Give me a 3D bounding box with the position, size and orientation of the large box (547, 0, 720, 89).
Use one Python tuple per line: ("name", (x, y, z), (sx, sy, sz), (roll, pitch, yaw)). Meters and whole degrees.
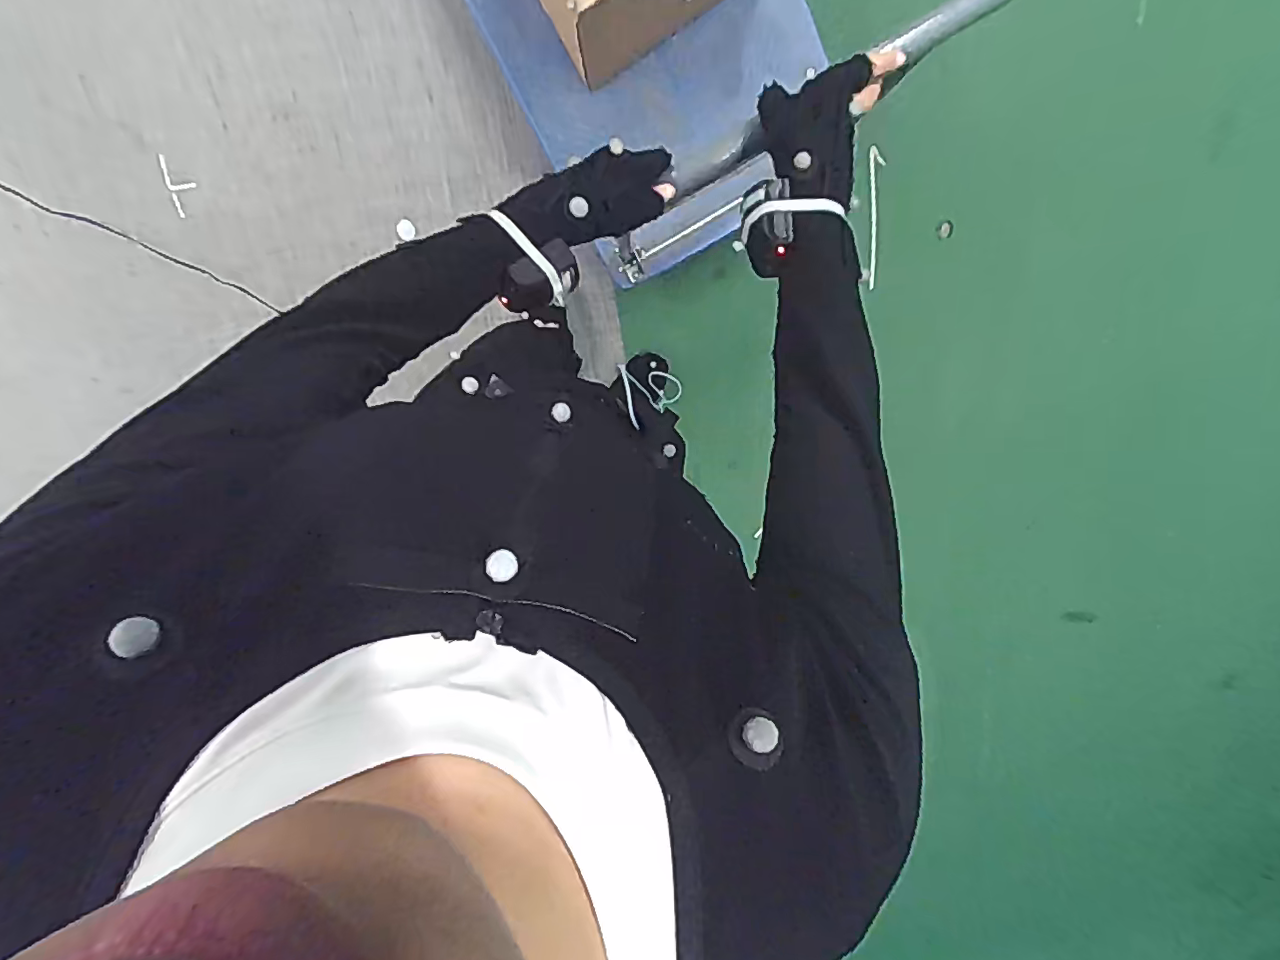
("large box", (0.006, -0.950, 0.869), (0.408, 0.320, 0.320), (-31, 105, 9))
